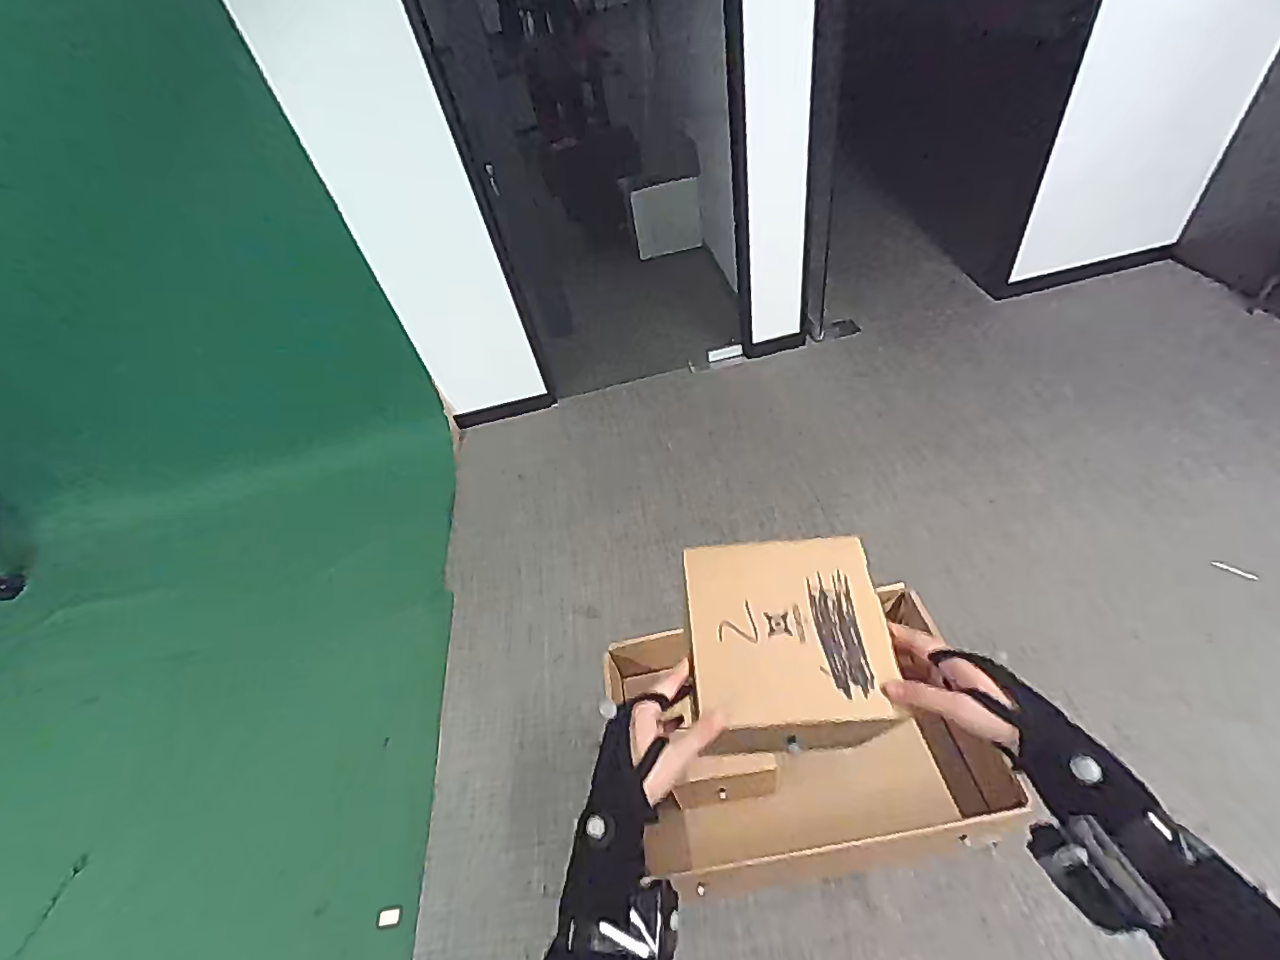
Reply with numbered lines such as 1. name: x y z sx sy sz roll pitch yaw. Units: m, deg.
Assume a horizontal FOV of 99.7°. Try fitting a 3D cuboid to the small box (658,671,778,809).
1. small box: 0.136 0.463 0.960 0.179 0.176 0.168 -11 45 3
